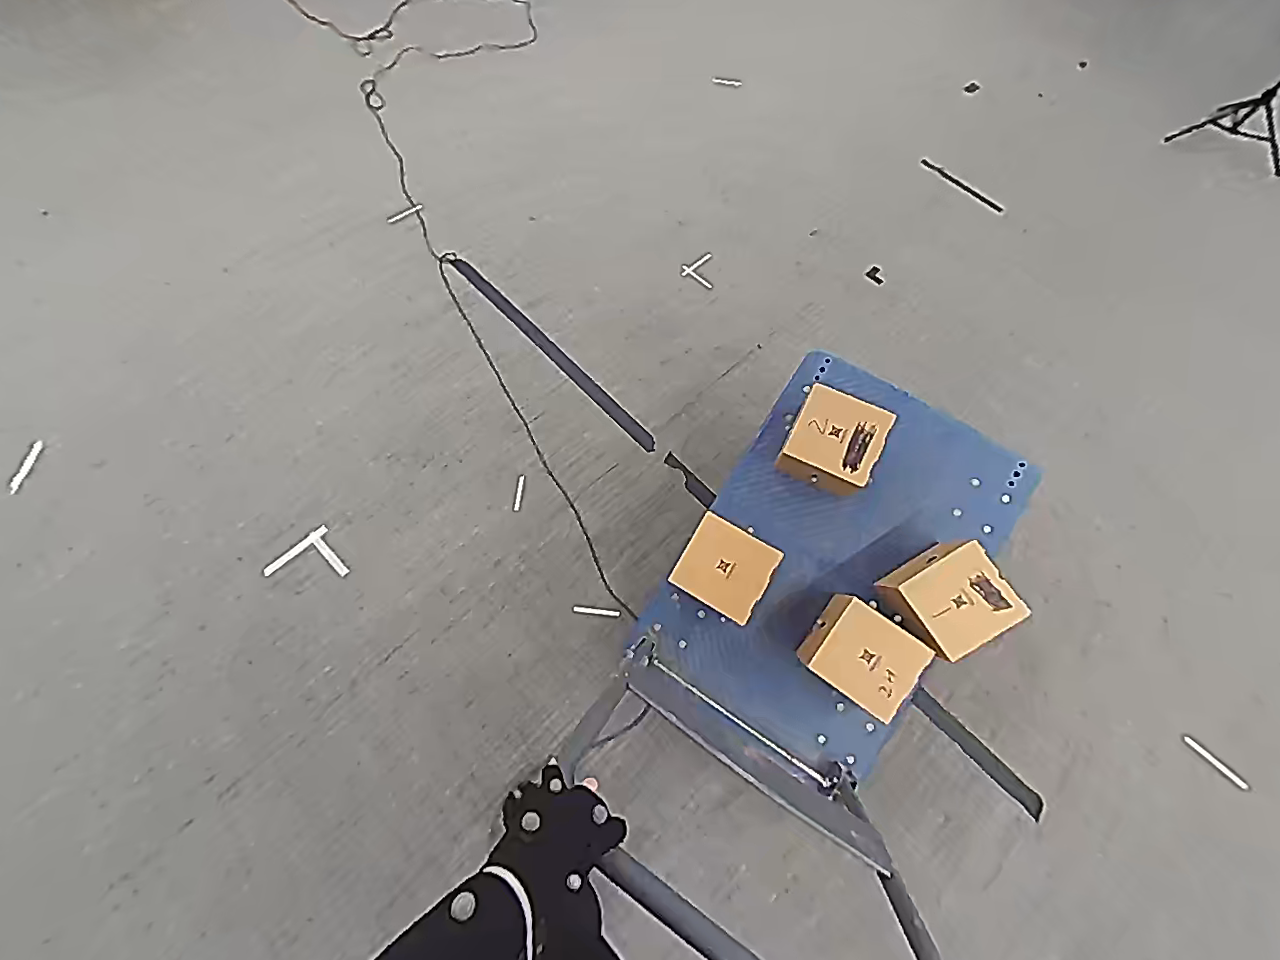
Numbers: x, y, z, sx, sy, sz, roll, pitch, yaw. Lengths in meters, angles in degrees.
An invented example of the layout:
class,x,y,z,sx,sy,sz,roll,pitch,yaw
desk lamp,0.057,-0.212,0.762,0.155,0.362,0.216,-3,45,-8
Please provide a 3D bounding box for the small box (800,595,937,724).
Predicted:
class,x,y,z,sx,sy,sz,roll,pitch,yaw
small box,0.444,0.350,1.089,0.179,0.176,0.168,36,88,12

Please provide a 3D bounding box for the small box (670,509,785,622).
class,x,y,z,sx,sy,sz,roll,pitch,yaw
small box,0.183,0.183,1.155,0.179,0.176,0.168,30,86,10

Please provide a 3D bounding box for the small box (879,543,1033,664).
class,x,y,z,sx,sy,sz,roll,pitch,yaw
small box,0.617,0.239,1.082,0.179,0.176,0.168,-32,78,3
